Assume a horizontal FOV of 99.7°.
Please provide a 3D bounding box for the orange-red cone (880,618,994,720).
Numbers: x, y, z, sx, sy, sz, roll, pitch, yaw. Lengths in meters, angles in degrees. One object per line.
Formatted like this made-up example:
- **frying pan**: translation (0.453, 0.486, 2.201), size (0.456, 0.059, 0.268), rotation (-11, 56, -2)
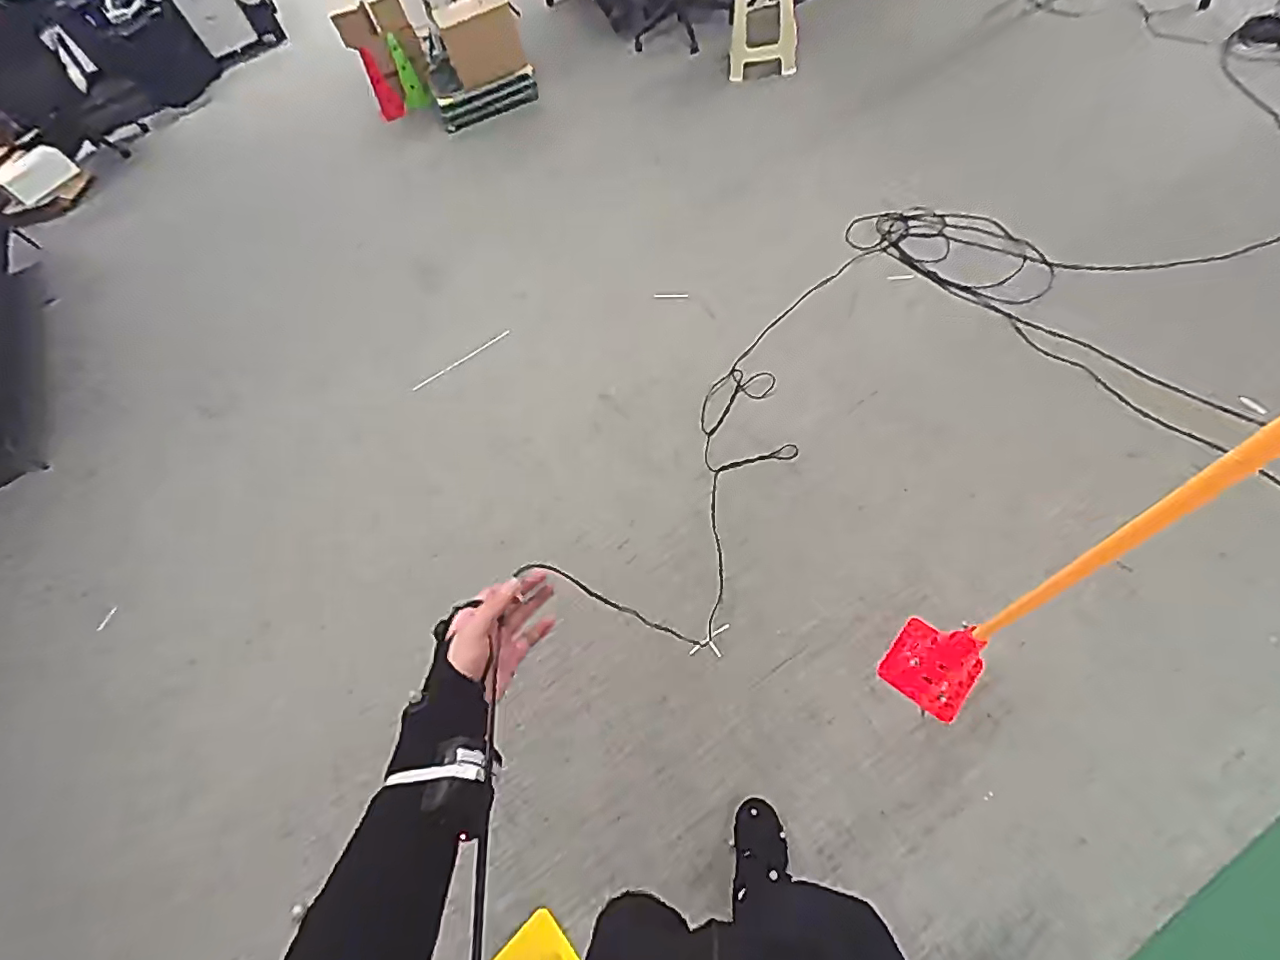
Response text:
- **orange-red cone**: translation (0.721, 0.395, 1.240), size (0.198, 0.360, 0.199), rotation (35, 72, 26)
